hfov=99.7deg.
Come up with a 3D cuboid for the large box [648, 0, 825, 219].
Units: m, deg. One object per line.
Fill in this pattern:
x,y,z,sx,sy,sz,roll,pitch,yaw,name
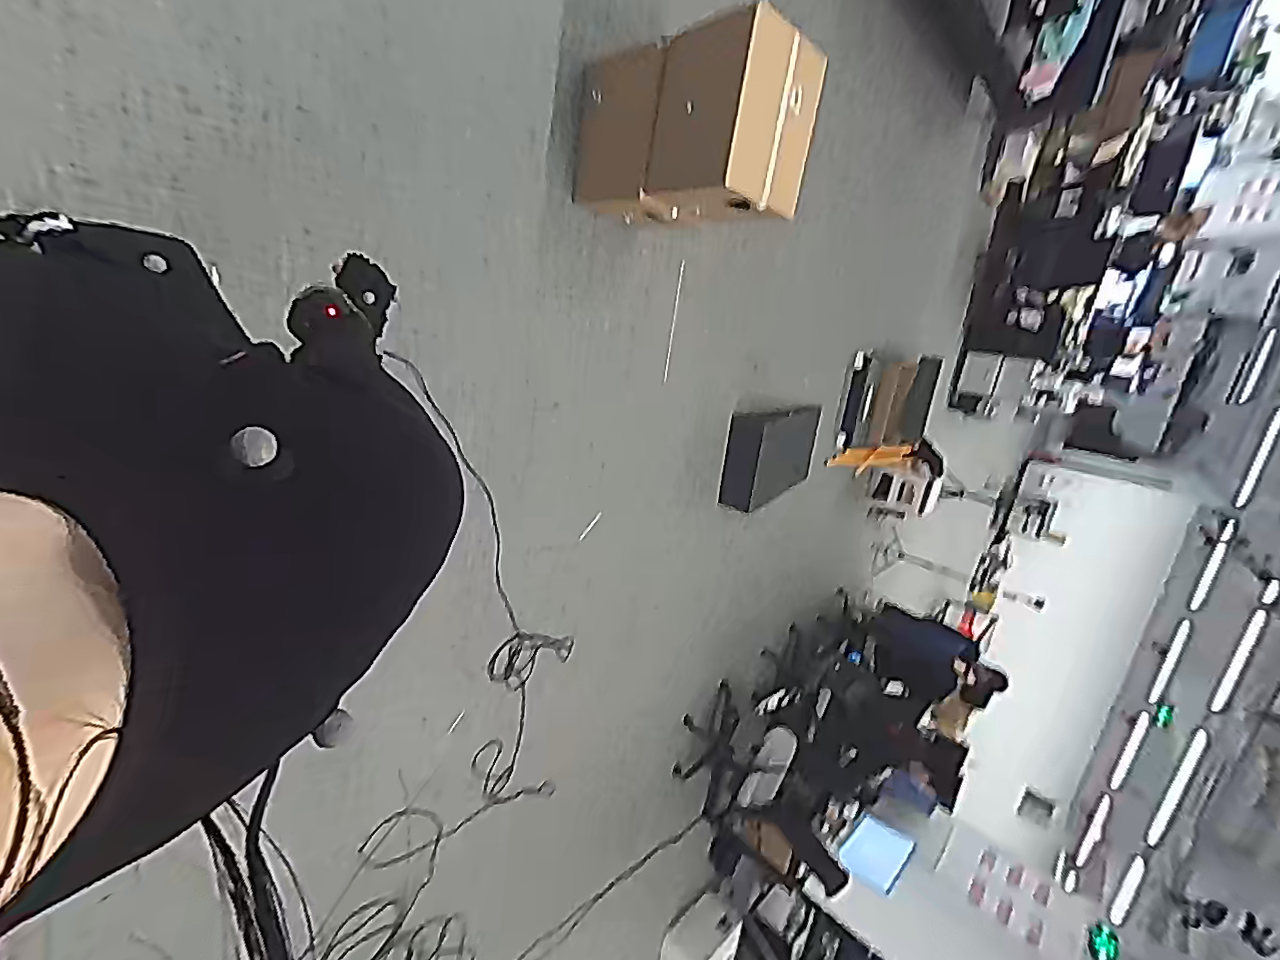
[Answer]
0.253,-0.976,1.488,0.320,0.320,0.408,-4,109,-43,large box
